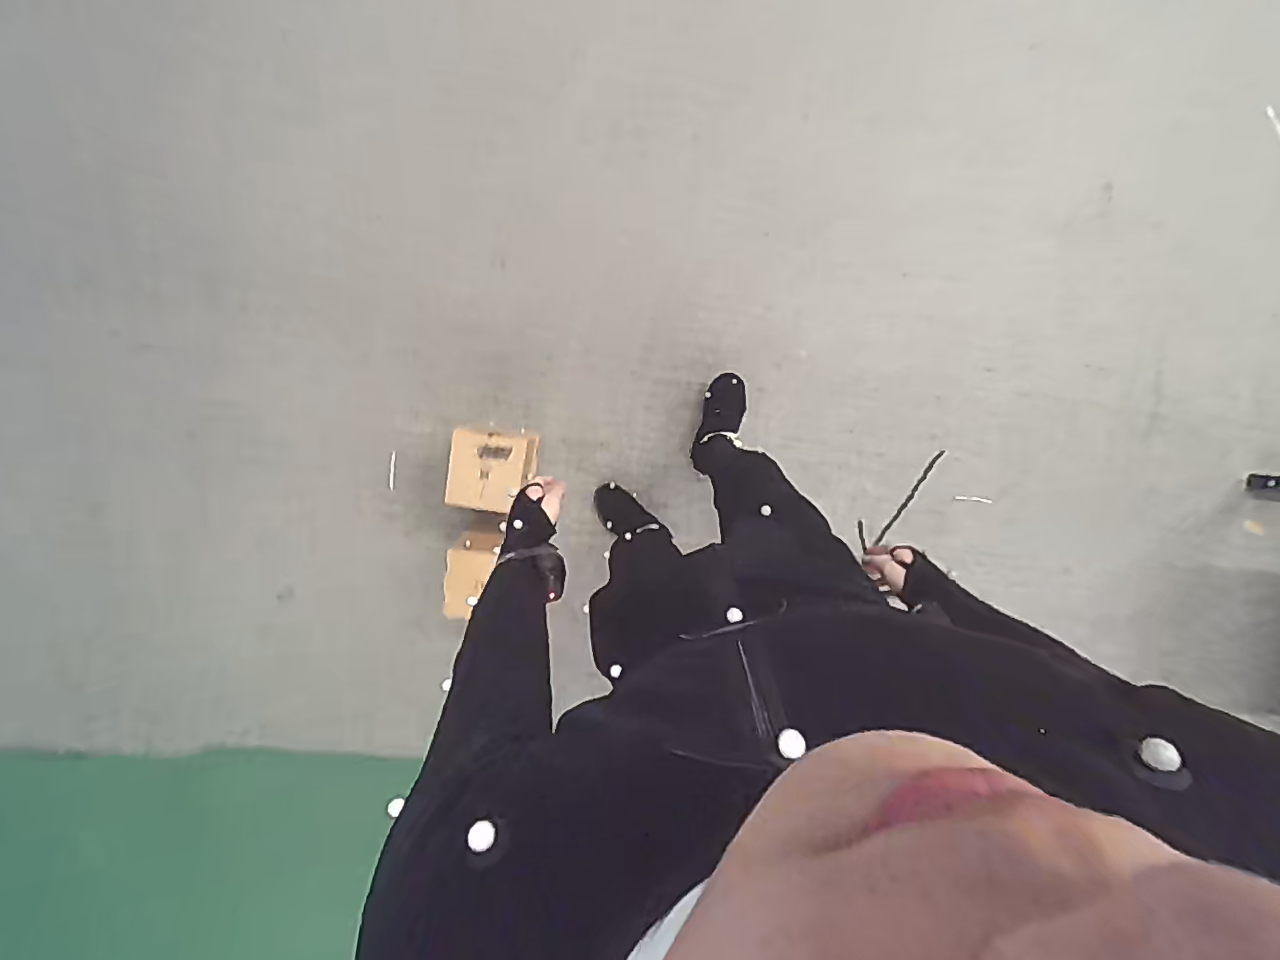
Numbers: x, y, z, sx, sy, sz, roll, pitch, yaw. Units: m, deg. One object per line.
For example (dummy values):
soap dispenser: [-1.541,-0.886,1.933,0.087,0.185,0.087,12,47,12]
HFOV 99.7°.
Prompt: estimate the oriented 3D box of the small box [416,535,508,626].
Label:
small box: [-0.424,0.237,1.314,0.179,0.176,0.168,7,97,-6]

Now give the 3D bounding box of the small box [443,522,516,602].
small box: [-0.441,0.217,1.473,0.179,0.176,0.168,10,96,-7]

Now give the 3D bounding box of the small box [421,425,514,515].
small box: [-0.399,-0.030,1.278,0.168,0.176,0.179,11,97,-6]
